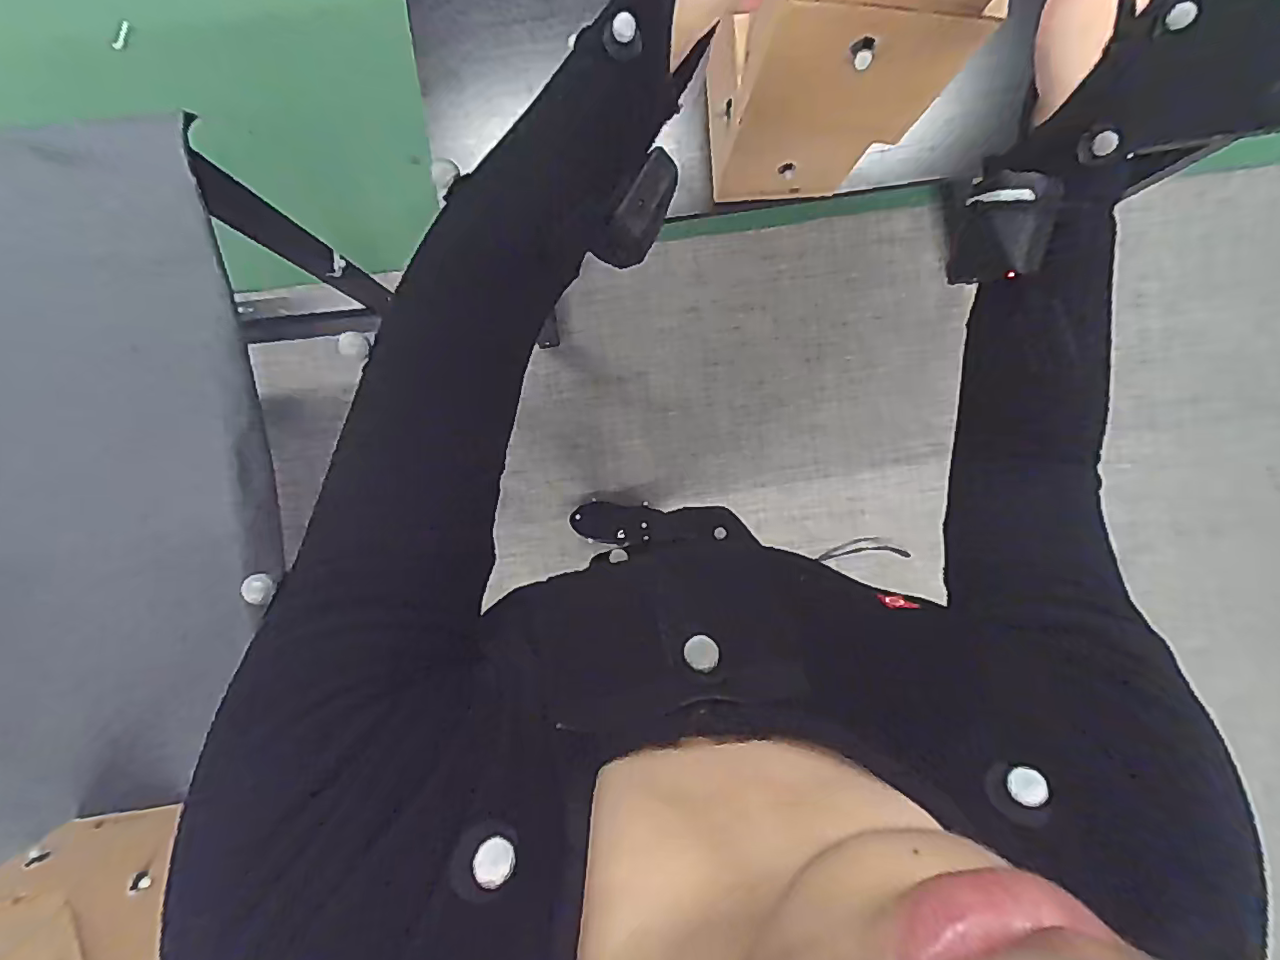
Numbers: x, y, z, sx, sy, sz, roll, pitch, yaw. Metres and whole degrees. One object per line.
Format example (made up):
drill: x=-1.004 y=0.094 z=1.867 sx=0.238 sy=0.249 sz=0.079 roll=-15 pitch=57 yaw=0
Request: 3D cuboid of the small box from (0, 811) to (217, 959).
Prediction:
small box: x=-0.674 y=0.540 z=0.666 sx=0.168 sy=0.176 sz=0.179 roll=-8 pitch=93 yaw=1

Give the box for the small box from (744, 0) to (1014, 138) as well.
small box: x=0.204 y=-0.442 z=0.489 sx=0.179 sy=0.176 sz=0.168 roll=4 pitch=92 yaw=-1

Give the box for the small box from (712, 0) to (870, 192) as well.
small box: x=0.183 y=-0.467 z=0.650 sx=0.168 sy=0.176 sz=0.179 roll=-4 pitch=92 yaw=-2
